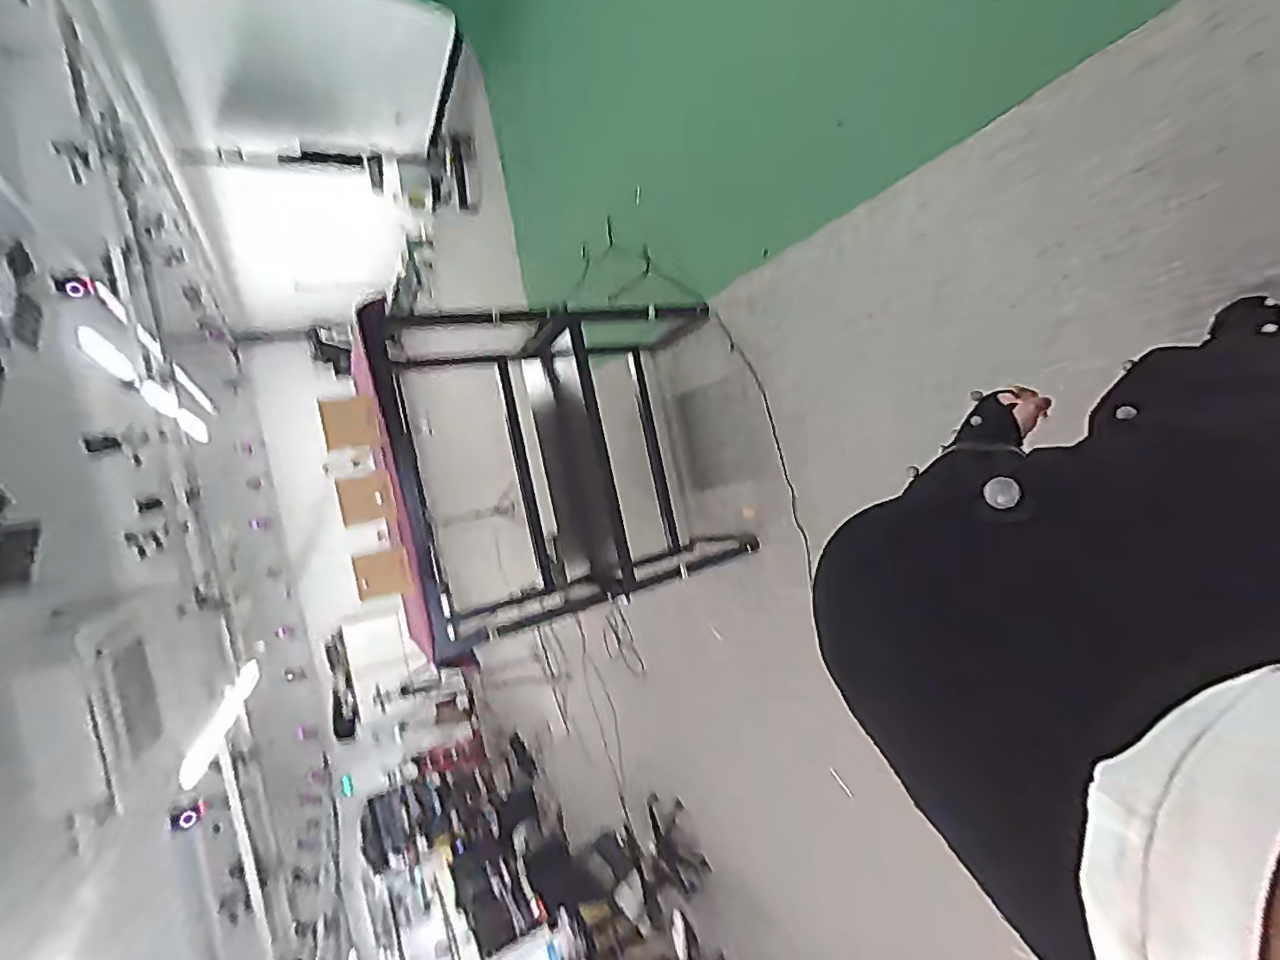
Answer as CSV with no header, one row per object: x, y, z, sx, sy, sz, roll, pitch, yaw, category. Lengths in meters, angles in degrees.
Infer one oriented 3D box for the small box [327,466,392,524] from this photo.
-0.949,0.051,1.831,0.179,0.176,0.168,-10,93,60,small box

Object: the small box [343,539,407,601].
-0.896,0.298,1.832,0.179,0.176,0.168,-12,91,61,small box
